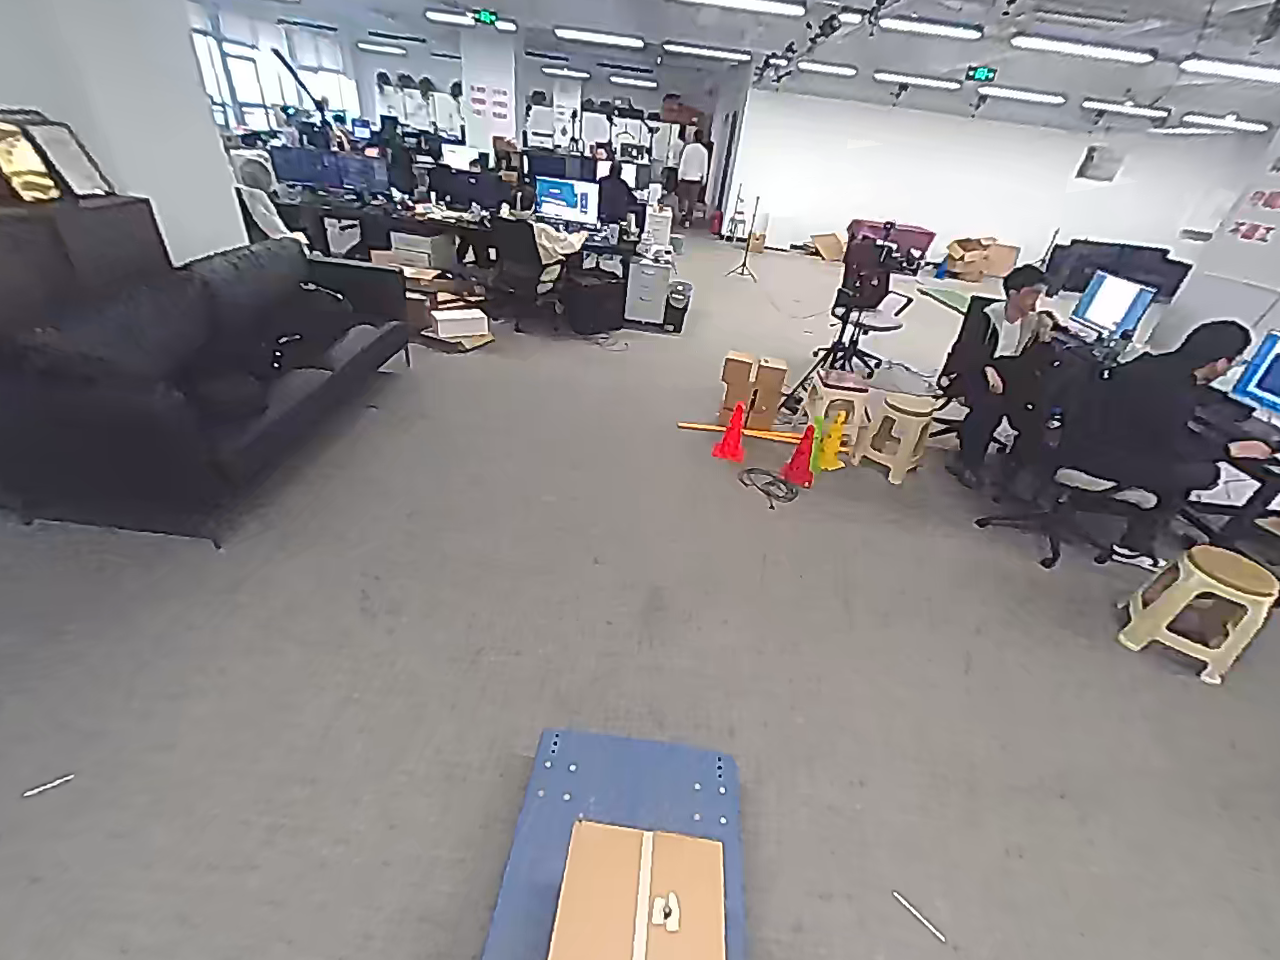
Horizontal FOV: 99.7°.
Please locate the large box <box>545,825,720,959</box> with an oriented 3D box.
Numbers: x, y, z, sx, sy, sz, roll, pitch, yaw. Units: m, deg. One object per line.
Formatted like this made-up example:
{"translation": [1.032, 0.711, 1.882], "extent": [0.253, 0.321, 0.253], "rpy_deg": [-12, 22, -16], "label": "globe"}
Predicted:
{"translation": [-0.025, 0.965, 1.031], "extent": [0.320, 0.320, 0.408], "rpy_deg": [8, 32, 1], "label": "large box"}
